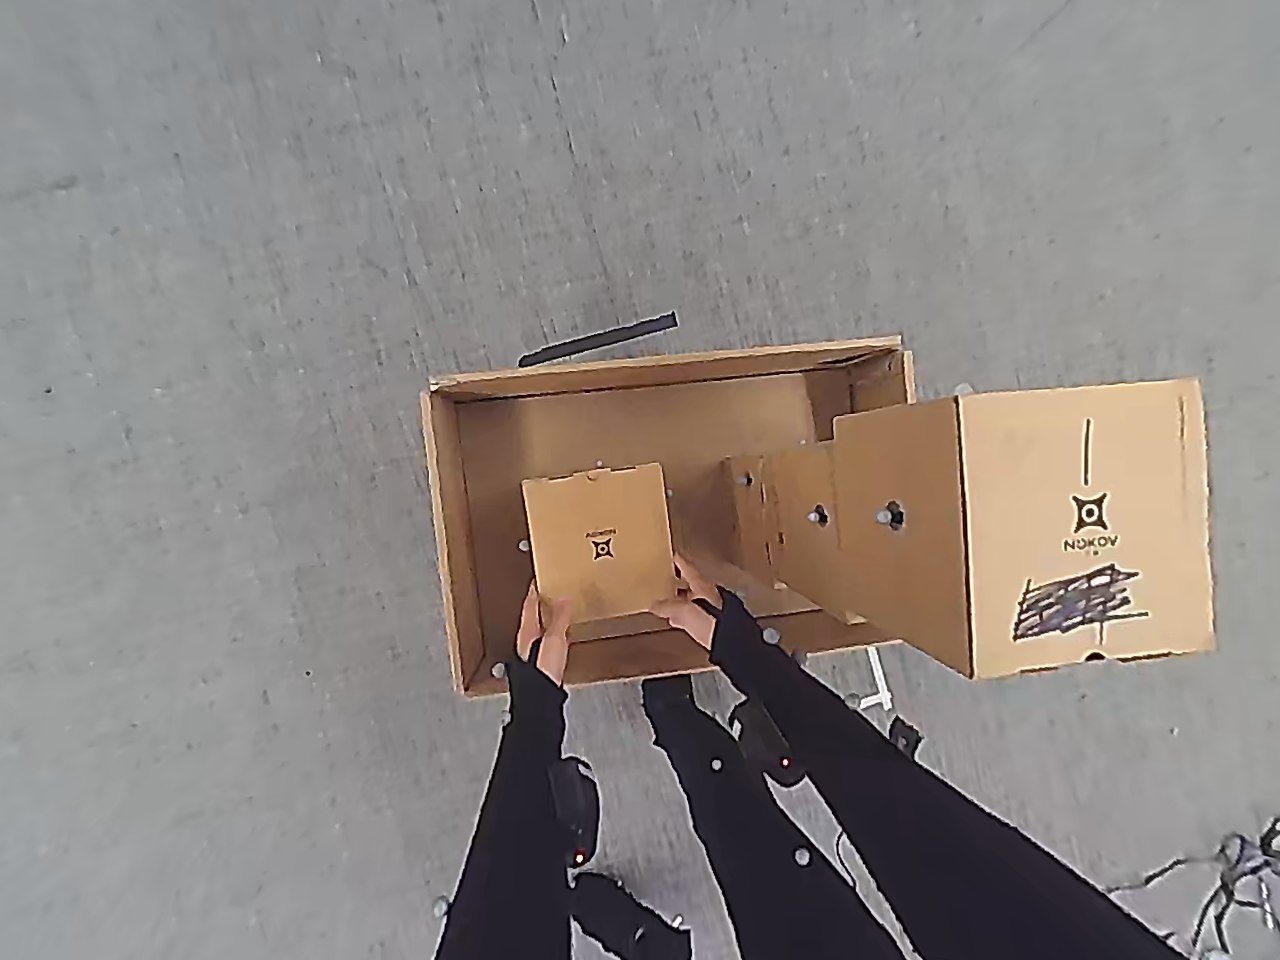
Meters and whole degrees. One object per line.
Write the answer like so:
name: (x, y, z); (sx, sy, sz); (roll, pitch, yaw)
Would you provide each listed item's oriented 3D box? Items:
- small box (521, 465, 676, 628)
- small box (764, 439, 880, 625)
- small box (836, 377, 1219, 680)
small box: (-0.054, 0.075, 0.707); (0.168, 0.176, 0.179); (-8, 91, -6)
small box: (0.250, 0.035, 0.570); (0.179, 0.176, 0.168); (-9, 93, -6)
small box: (0.264, 0.026, 0.405); (0.168, 0.176, 0.179); (-5, 92, -5)
